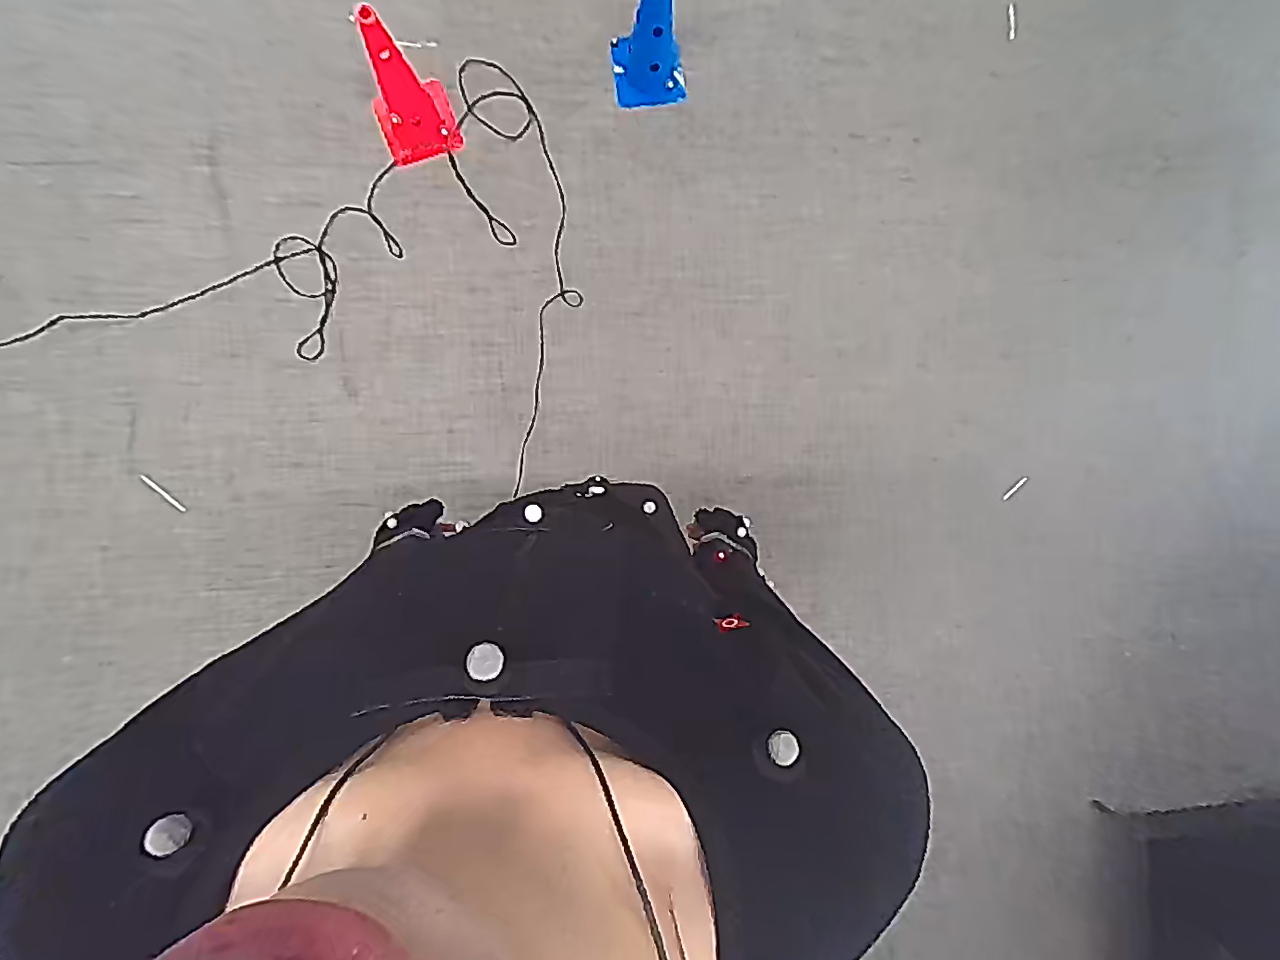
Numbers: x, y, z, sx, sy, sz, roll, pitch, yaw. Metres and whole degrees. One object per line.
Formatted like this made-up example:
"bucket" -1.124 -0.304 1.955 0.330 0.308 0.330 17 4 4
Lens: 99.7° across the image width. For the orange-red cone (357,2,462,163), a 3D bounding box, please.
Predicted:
"orange-red cone" -0.592 -0.981 1.305 0.198 0.360 0.199 -21 90 -5
